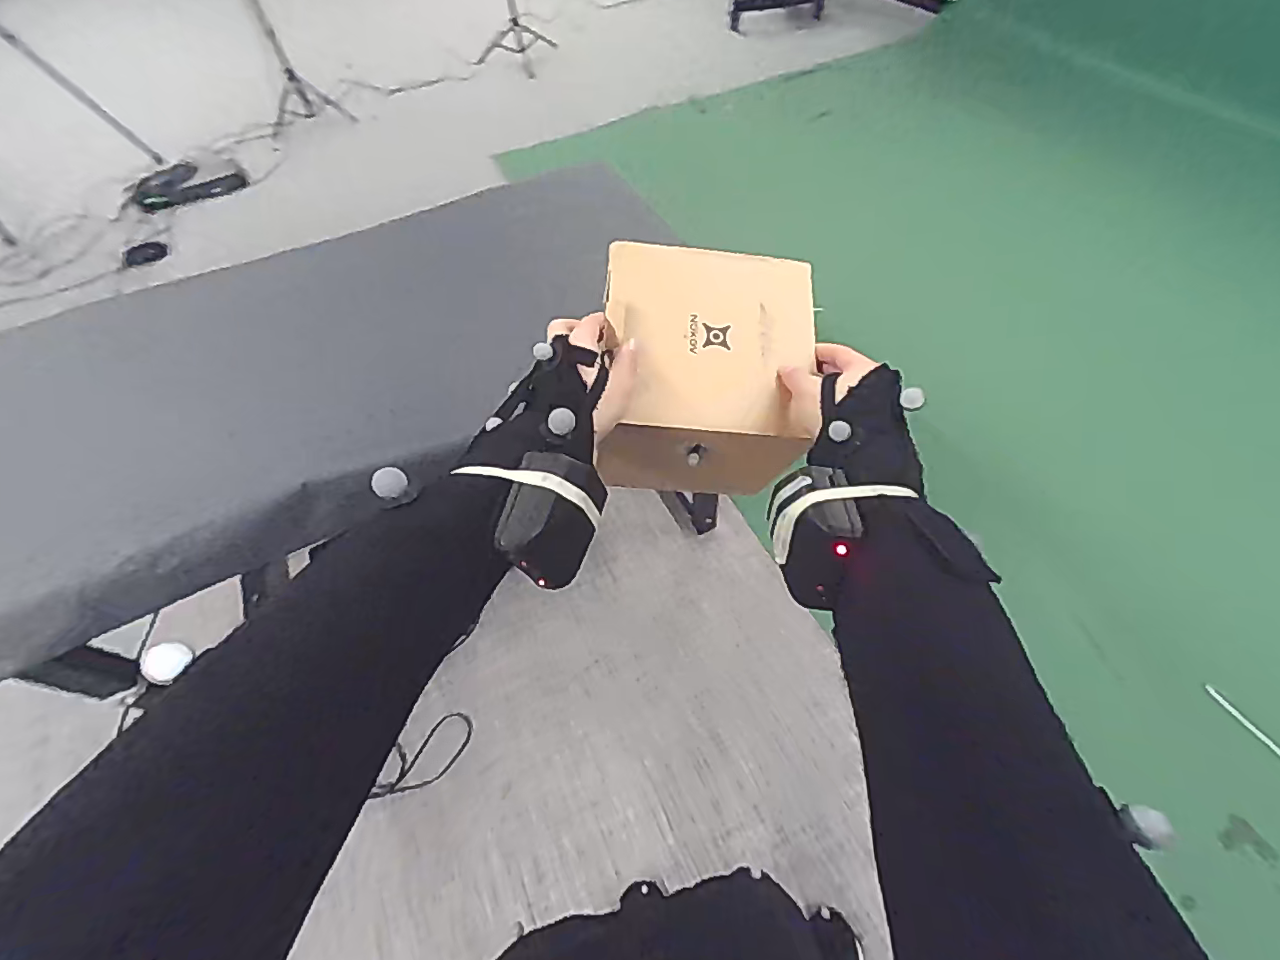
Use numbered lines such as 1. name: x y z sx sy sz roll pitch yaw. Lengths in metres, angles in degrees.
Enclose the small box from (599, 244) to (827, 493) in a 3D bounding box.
1. small box: 0.054 -0.090 0.510 0.179 0.176 0.168 4 73 -6
